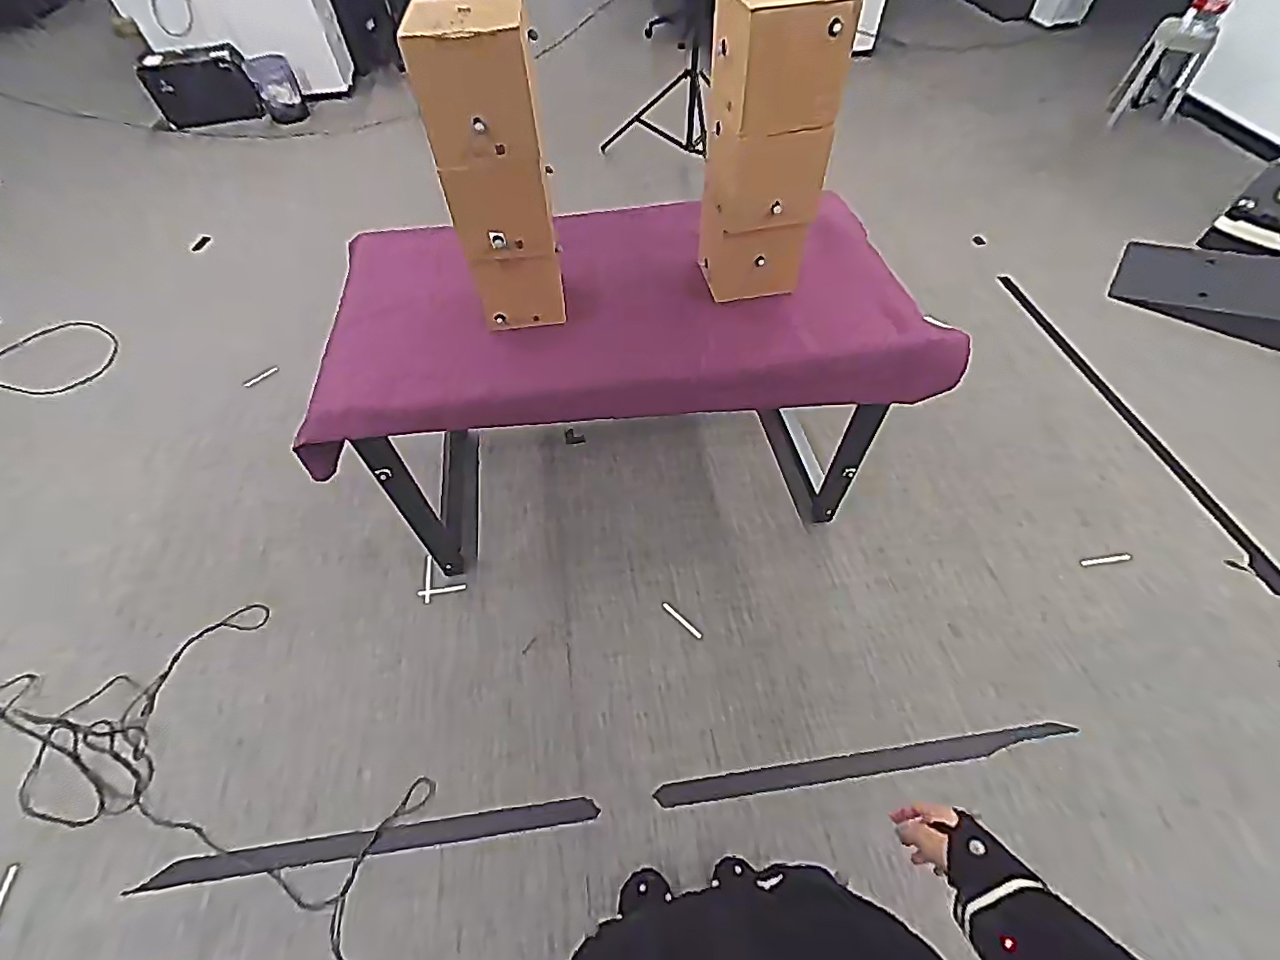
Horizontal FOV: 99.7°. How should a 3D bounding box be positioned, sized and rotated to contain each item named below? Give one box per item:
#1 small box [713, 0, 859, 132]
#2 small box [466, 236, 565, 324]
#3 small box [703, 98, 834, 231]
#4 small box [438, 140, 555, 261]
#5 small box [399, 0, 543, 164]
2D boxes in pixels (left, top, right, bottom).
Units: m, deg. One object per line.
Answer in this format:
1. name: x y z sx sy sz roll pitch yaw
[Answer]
1. small box: 0.222 -0.693 0.881 0.179 0.176 0.168 -12 55 -6
2. small box: -0.250 -0.437 1.110 0.168 0.176 0.179 -7 54 -4
3. small box: 0.228 -0.593 1.009 0.179 0.176 0.168 -12 55 -7
4. small box: -0.248 -0.521 0.970 0.168 0.176 0.179 -8 56 -3
5. small box: -0.247 -0.617 0.836 0.168 0.176 0.179 -6 55 -2
